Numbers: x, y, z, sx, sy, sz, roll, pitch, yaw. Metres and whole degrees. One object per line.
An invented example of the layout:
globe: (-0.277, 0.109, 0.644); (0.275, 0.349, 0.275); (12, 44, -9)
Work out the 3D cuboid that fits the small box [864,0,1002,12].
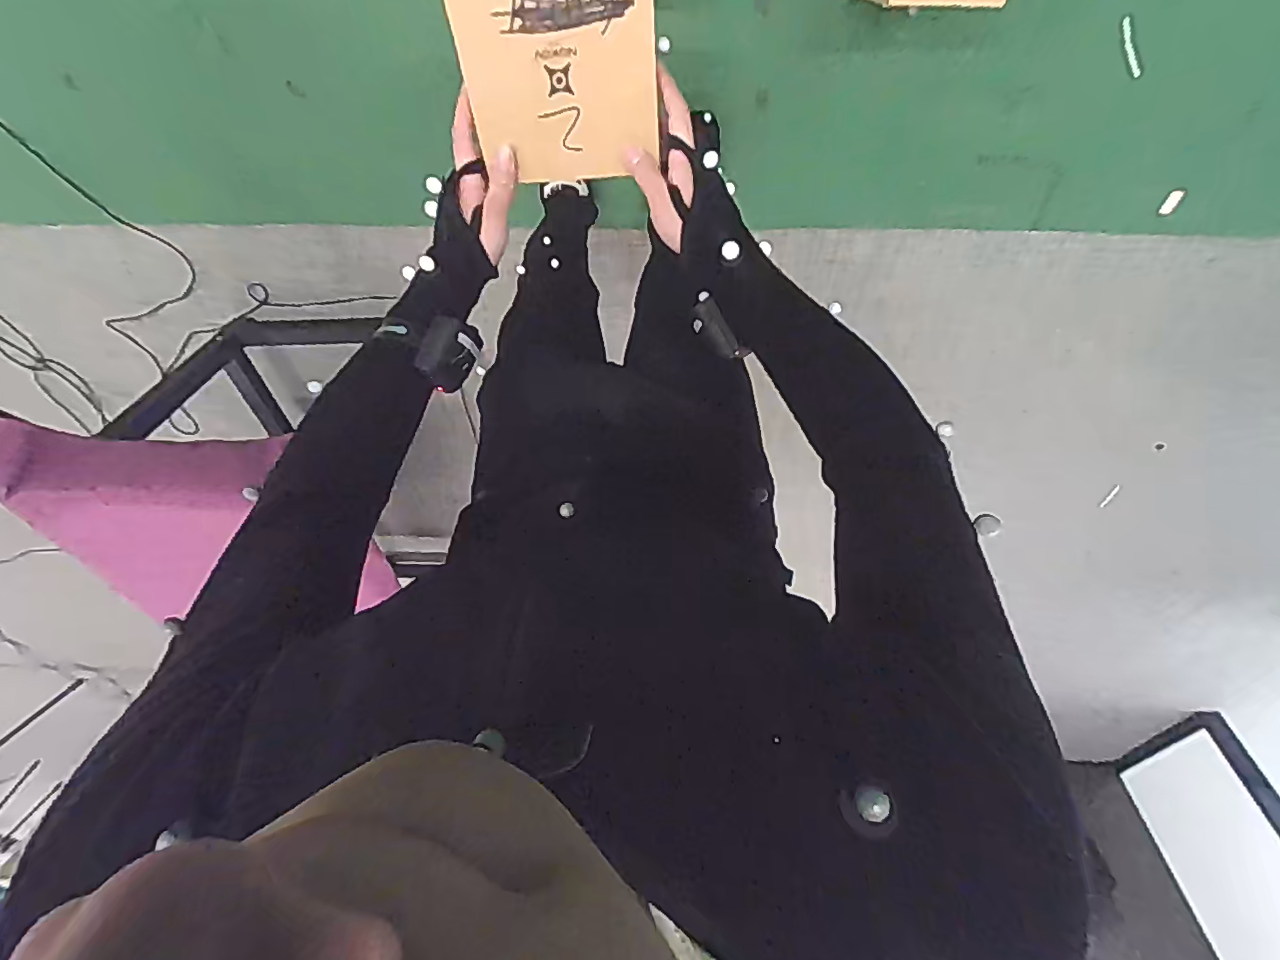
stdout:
small box: (0.434, -0.790, 0.771); (0.168, 0.176, 0.179); (2, 135, 1)
